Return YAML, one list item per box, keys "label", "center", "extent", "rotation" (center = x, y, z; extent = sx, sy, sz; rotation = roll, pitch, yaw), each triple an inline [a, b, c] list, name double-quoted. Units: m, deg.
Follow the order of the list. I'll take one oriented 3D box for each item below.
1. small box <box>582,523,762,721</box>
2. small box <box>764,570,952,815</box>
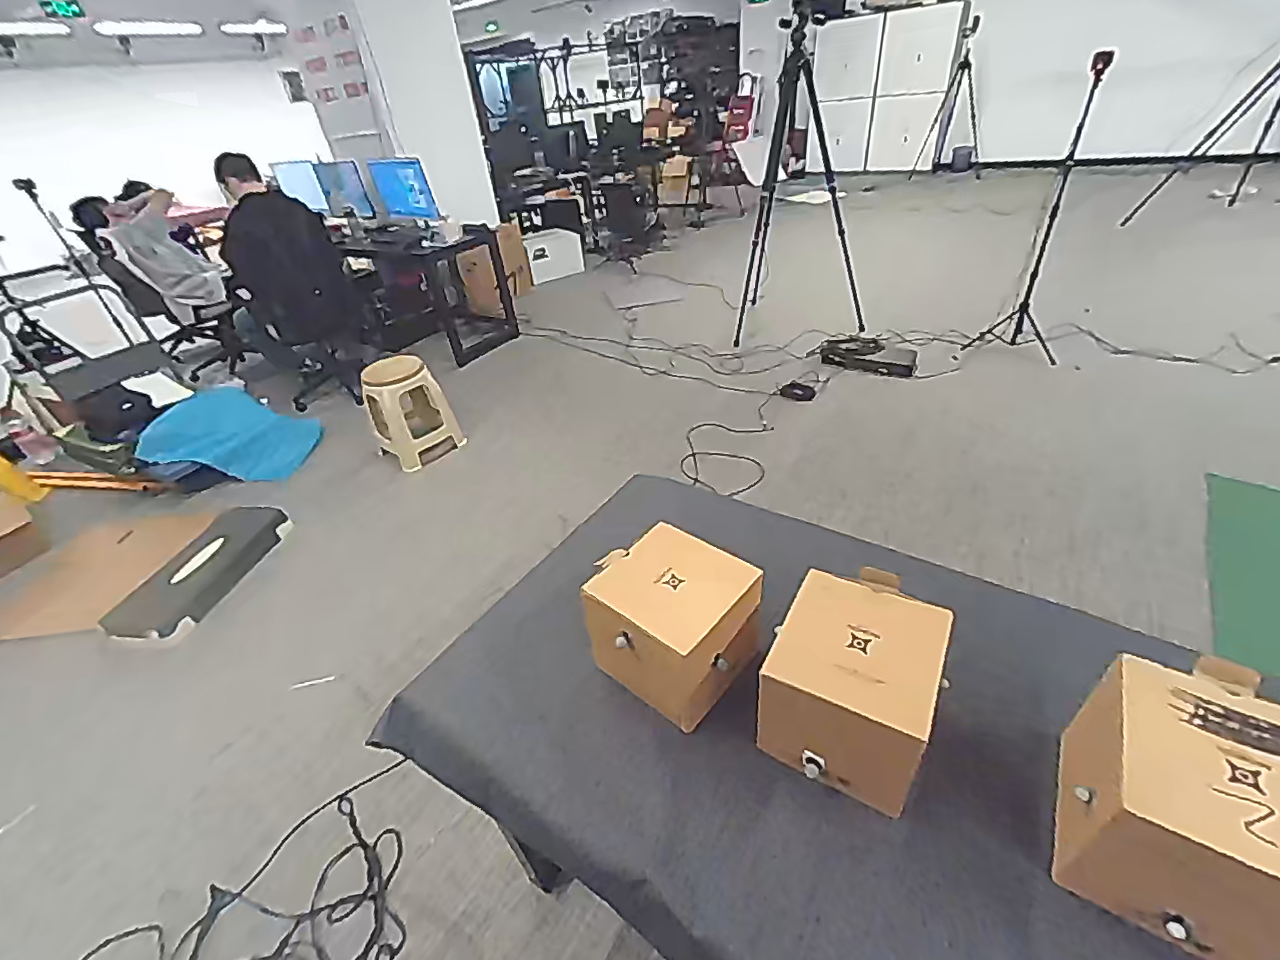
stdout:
- label: "small box"
  center: [0.048, 0.194, 0.739]
  extent: [0.179, 0.176, 0.168]
  rotation: [24, 45, 36]
- label: "small box"
  center: [0.250, 0.243, 0.639]
  extent: [0.168, 0.176, 0.179]
  rotation: [14, 40, 28]
